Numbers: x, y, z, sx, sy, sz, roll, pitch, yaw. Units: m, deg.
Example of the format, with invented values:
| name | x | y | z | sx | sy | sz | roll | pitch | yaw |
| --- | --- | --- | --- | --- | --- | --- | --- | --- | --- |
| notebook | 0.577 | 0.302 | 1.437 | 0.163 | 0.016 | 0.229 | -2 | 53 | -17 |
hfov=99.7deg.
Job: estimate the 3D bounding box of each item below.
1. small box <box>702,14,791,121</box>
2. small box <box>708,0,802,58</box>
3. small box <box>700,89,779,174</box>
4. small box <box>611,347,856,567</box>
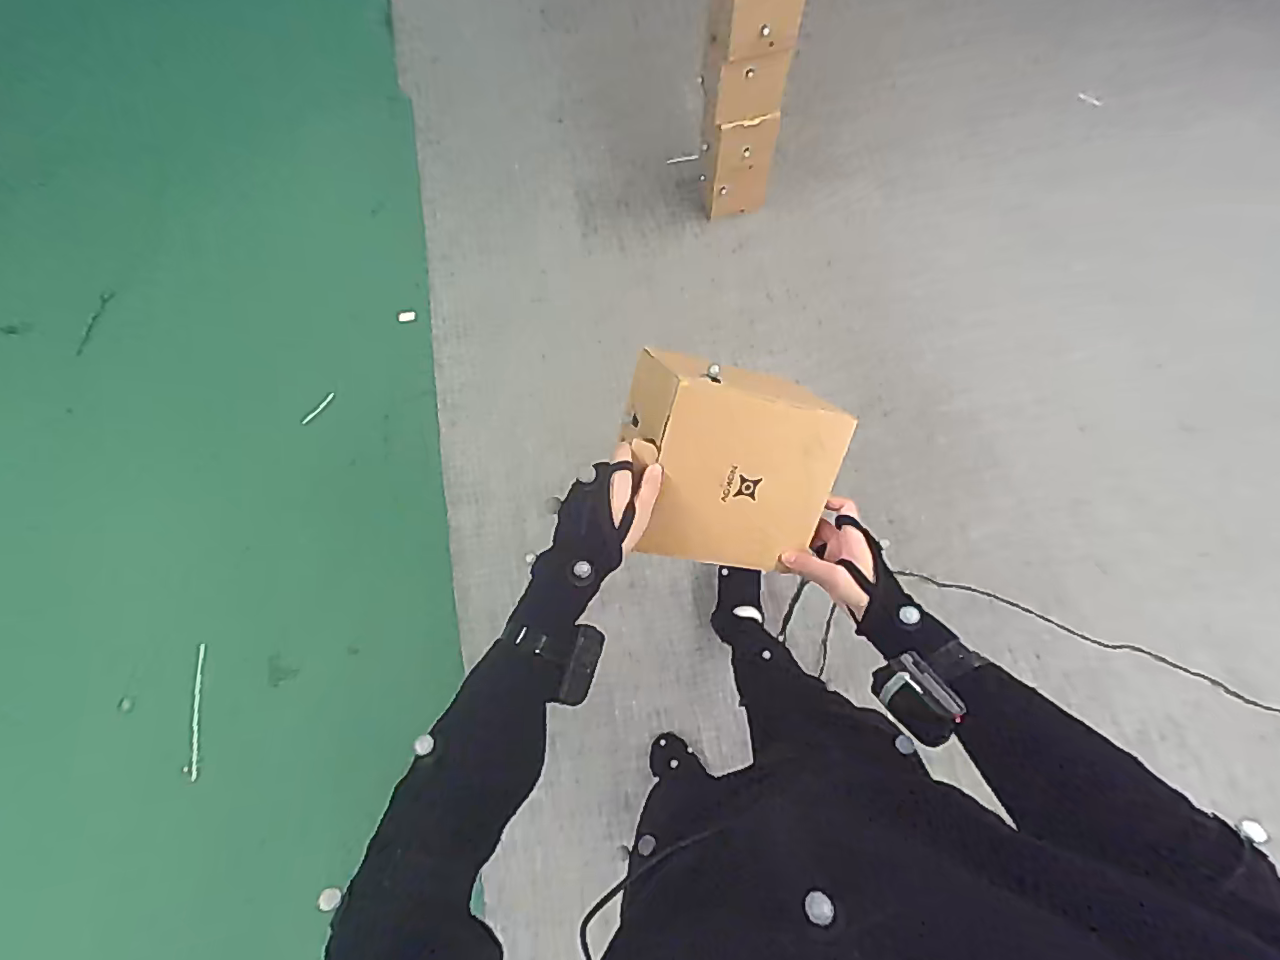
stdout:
| name | x | y | z | sx | sy | sz | roll | pitch | yaw |
| --- | --- | --- | --- | --- | --- | --- | --- | --- | --- |
| small box | 0.259 | -1.047 | 1.366 | 0.179 | 0.176 | 0.168 | -12 | 72 | -3 |
| small box | 0.257 | -1.097 | 1.209 | 0.168 | 0.176 | 0.179 | -14 | 72 | -2 |
| small box | 0.274 | -0.993 | 1.522 | 0.168 | 0.176 | 0.179 | -13 | 73 | -3 |
| small box | 0.078 | -0.032 | 0.559 | 0.179 | 0.176 | 0.168 | 10 | 110 | -14 |
